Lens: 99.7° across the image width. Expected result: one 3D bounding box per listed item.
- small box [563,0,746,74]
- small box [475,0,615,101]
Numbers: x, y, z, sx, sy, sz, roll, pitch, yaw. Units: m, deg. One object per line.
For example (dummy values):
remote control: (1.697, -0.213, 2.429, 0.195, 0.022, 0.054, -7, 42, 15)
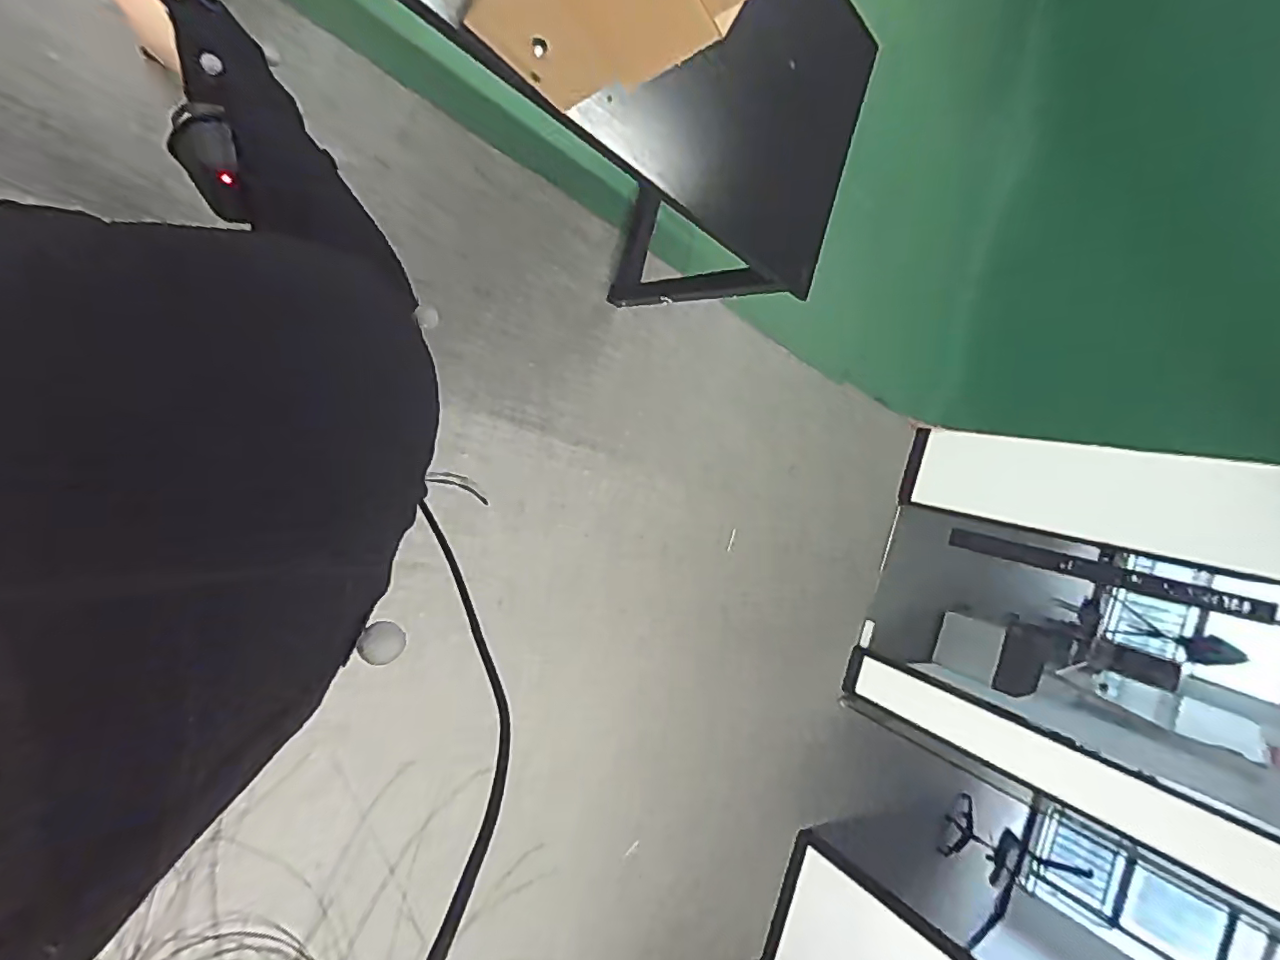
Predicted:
small box: (0.017, -0.576, 0.570, 0.179, 0.176, 0.168, 32, 81, -40)
small box: (-0.088, -0.631, 0.683, 0.168, 0.176, 0.179, 22, 87, -42)
